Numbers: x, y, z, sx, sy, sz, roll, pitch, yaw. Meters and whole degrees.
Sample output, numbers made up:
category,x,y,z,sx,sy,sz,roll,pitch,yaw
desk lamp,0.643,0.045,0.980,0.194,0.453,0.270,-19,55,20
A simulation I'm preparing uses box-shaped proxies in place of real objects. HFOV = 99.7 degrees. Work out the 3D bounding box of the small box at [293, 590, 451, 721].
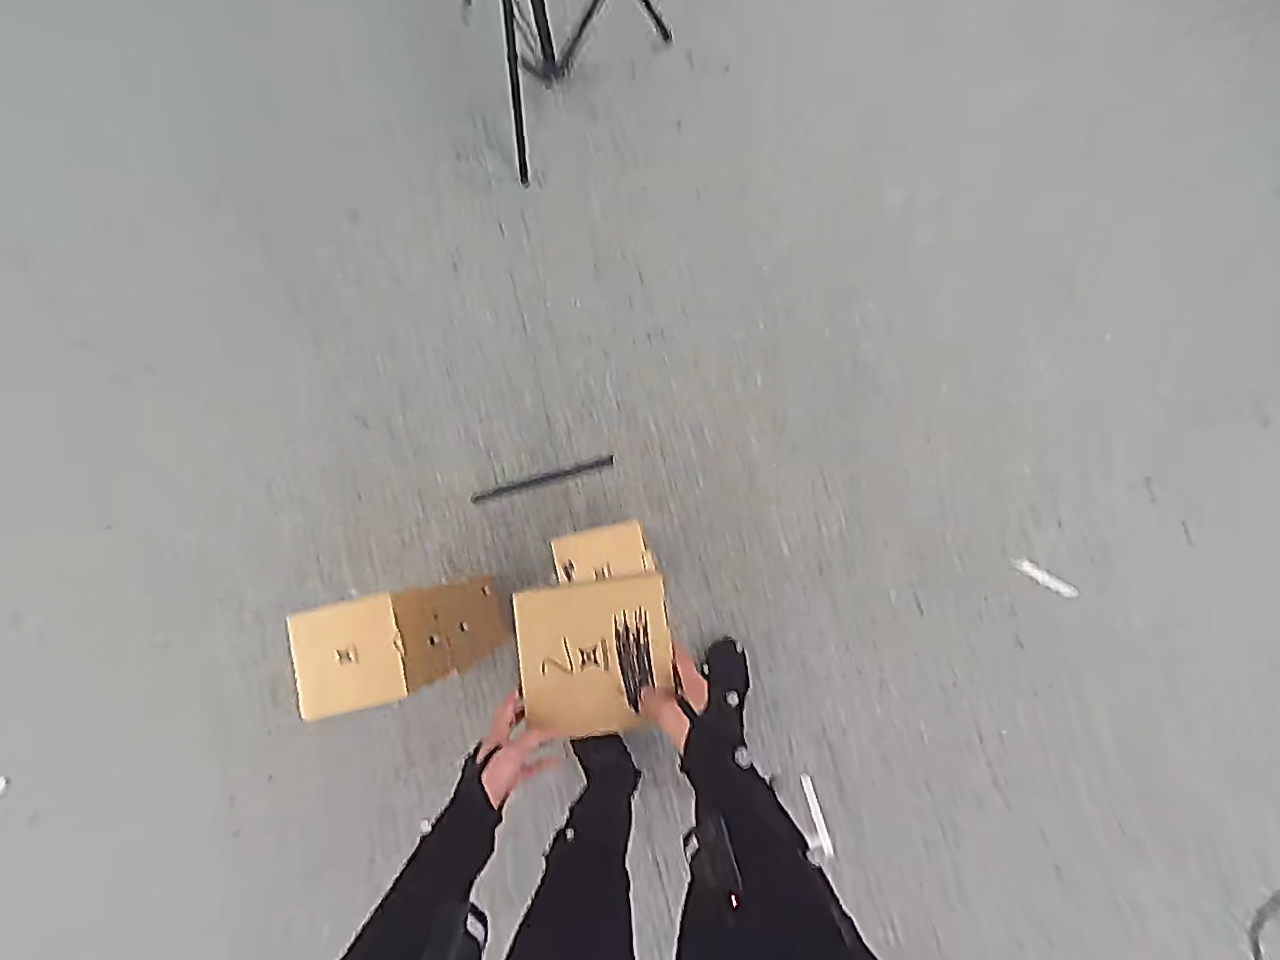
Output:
category,x,y,z,sx,sy,sz,roll,pitch,yaw
small box,-0.452,0.292,0.932,0.179,0.176,0.168,-14,82,0

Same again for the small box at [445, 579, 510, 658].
category,x,y,z,sx,sy,sz,roll,pitch,yaw
small box,-0.420,0.337,1.254,0.168,0.176,0.179,-20,82,-1

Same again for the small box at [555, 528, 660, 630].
category,x,y,z,sx,sy,sz,roll,pitch,yaw
small box,-0.062,0.195,1.097,0.179,0.176,0.168,-12,82,-1

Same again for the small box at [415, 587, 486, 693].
category,x,y,z,sx,sy,sz,roll,pitch,yaw
small box,-0.432,0.321,1.091,0.168,0.176,0.179,-19,83,0
